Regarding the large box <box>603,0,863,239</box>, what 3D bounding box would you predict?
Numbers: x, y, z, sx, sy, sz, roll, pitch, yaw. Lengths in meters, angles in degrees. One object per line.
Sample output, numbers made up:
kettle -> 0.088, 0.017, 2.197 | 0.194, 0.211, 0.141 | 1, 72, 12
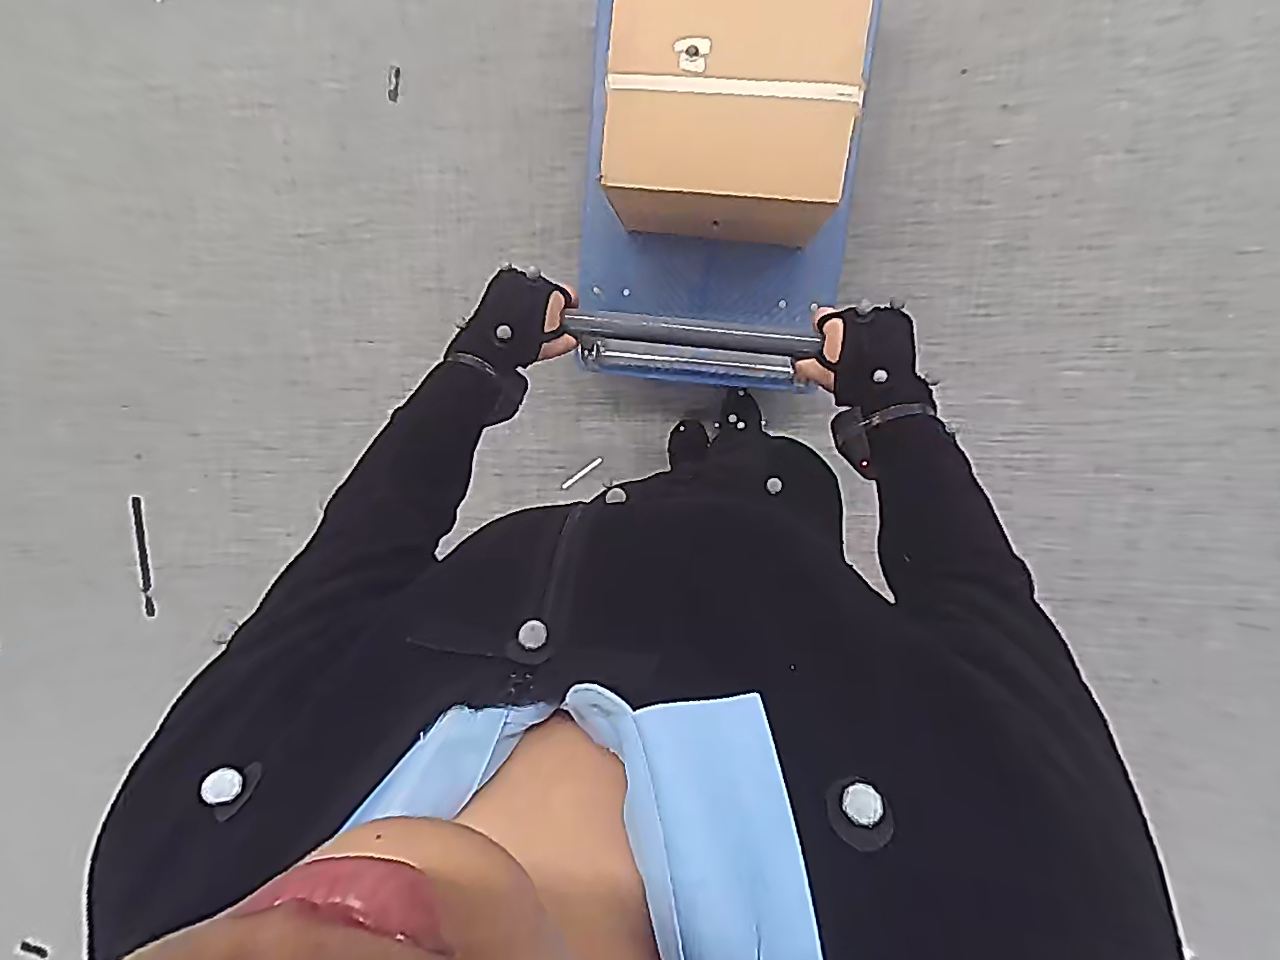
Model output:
large box -> 0.164, -0.667, 1.039 | 0.408, 0.320, 0.320 | 7, 101, 6
